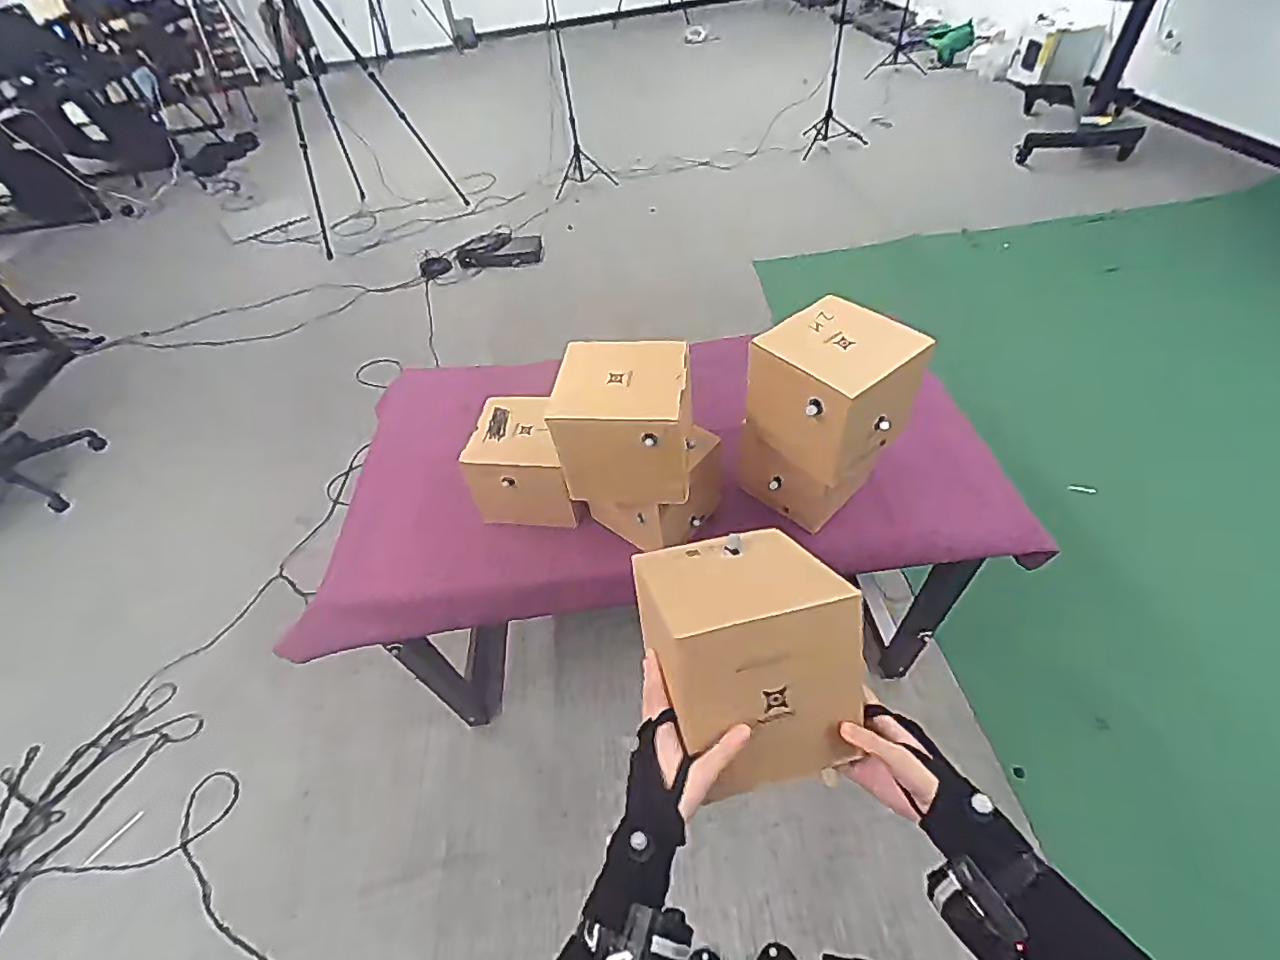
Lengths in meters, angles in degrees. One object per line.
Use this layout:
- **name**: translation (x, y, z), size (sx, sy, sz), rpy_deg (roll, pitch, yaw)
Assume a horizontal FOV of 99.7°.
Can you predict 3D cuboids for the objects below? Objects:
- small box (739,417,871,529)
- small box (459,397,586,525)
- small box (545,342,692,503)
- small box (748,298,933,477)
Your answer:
- **small box**: translation (0.288, -0.048, 0.930), size (0.179, 0.176, 0.168), rpy_deg (-39, 55, -23)
- **small box**: translation (-0.193, -0.032, 0.977), size (0.179, 0.176, 0.168), rpy_deg (3, 50, 9)
- **small box**: translation (-0.019, -0.081, 0.781), size (0.179, 0.176, 0.168), rpy_deg (2, 49, 8)
- **small box**: translation (0.274, -0.127, 0.780), size (0.168, 0.176, 0.179), rpy_deg (-32, 51, -20)
